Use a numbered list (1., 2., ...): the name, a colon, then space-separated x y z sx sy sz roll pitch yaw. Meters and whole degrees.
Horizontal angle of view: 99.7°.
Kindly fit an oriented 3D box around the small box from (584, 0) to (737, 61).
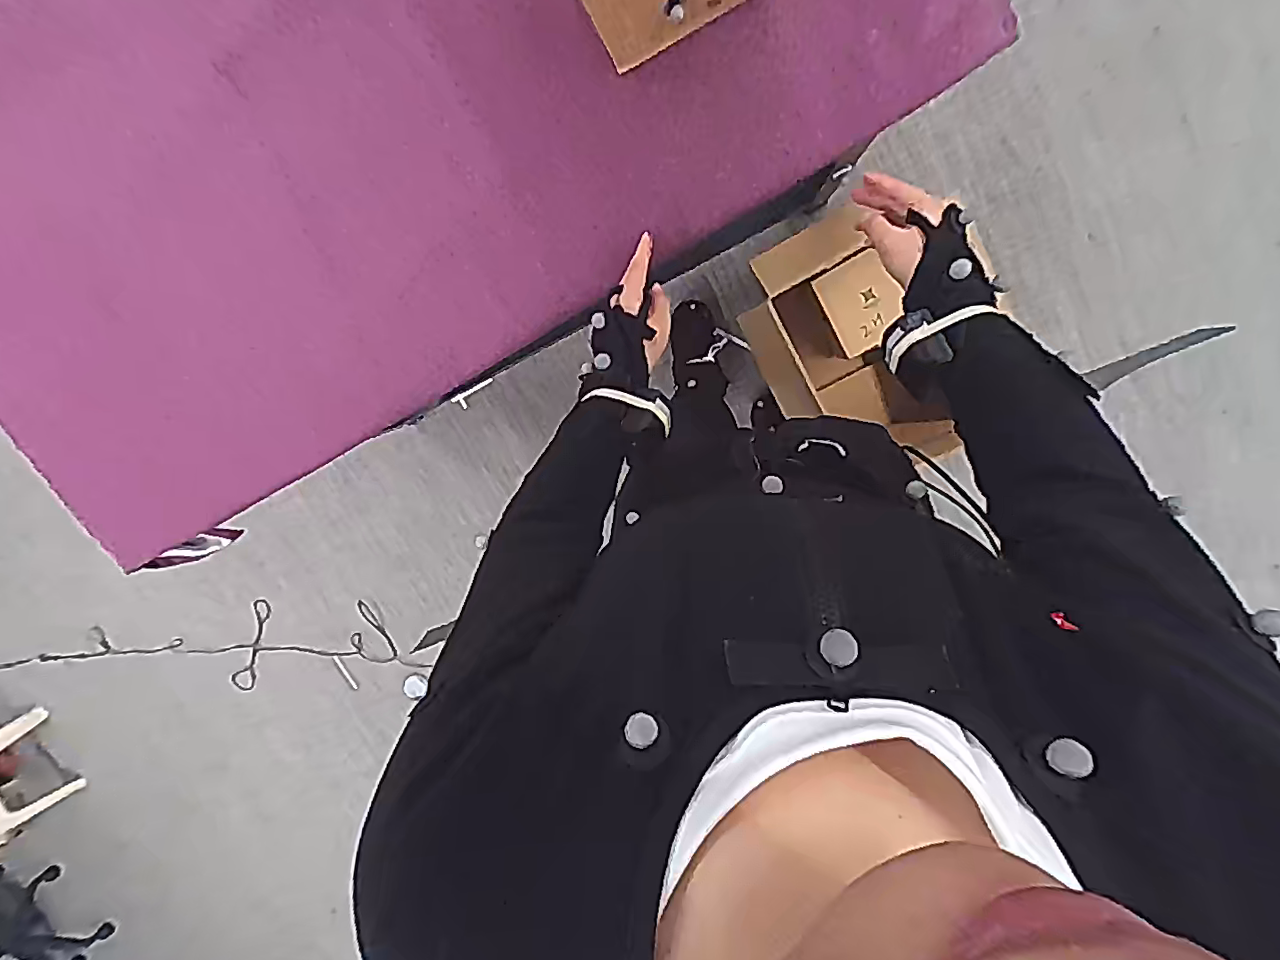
1. small box: 0.003 -0.486 0.417 0.168 0.176 0.179 -20 101 16
